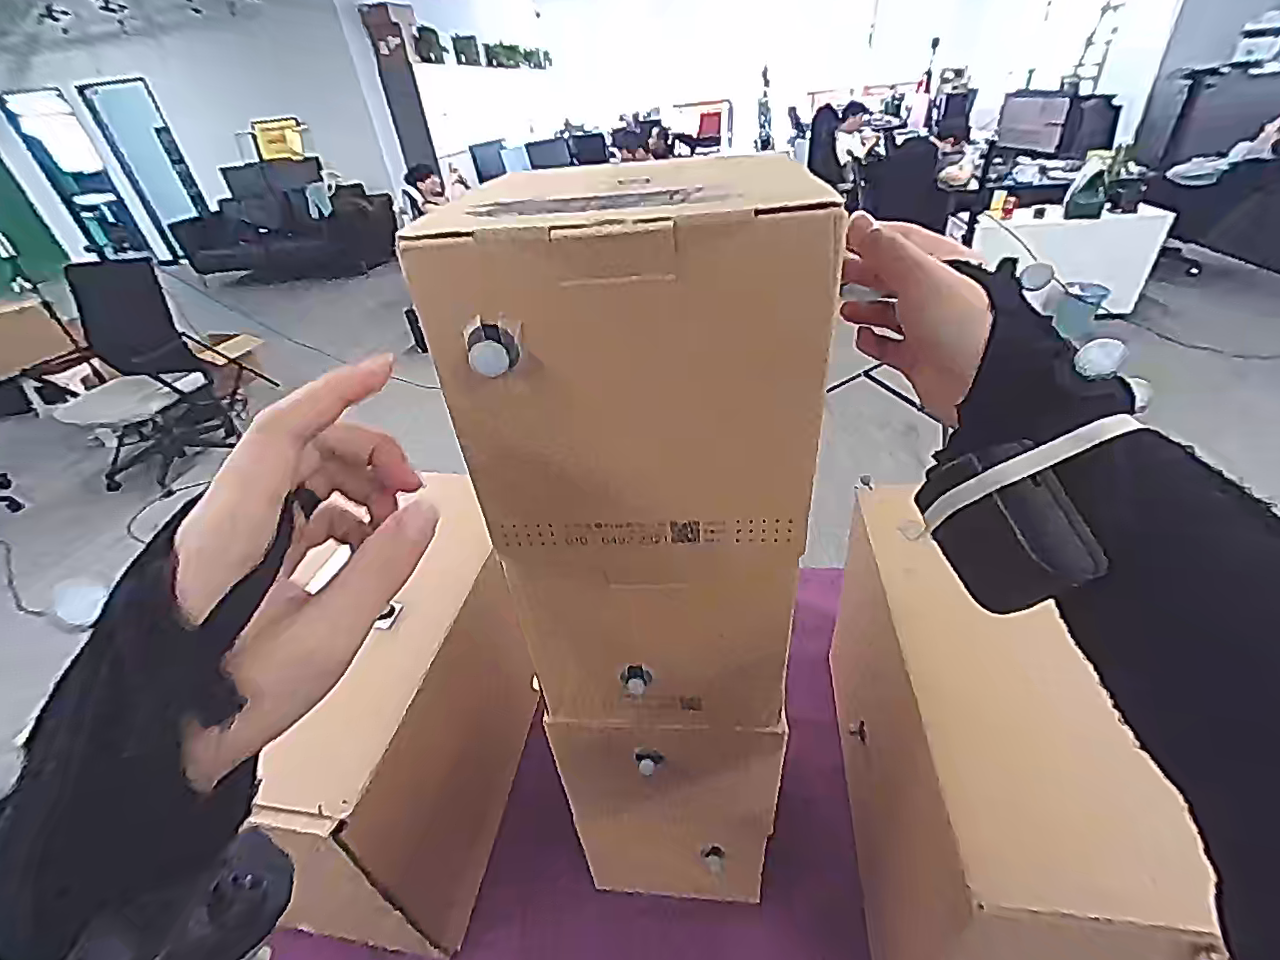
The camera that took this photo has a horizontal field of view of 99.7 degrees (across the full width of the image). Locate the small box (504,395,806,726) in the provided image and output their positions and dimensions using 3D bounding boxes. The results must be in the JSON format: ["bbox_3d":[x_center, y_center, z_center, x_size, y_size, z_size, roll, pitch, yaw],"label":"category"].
[{"bbox_3d":[0.016,0.052,0.400,0.168,0.176,0.179,-2,36,5],"label":"small box"}]

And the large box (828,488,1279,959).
[{"bbox_3d":[0.379,0.250,0.516,0.320,0.320,0.408,1,35,9],"label":"large box"}]
